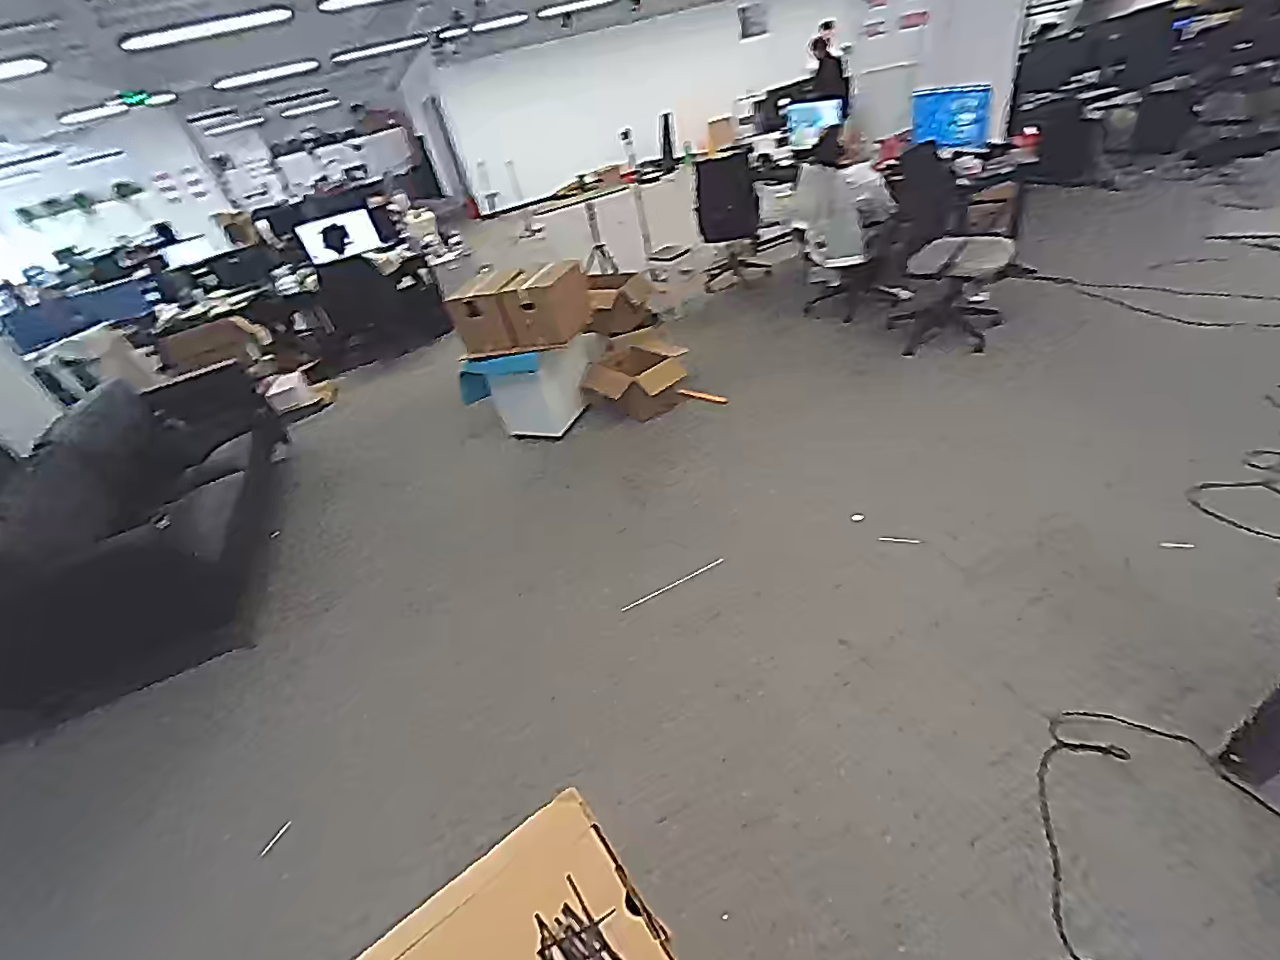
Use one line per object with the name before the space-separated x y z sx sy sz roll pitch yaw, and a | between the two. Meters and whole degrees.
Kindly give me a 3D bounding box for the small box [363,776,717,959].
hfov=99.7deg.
small box | -0.042 0.344 0.352 0.179 0.176 0.168 -30 45 -20
